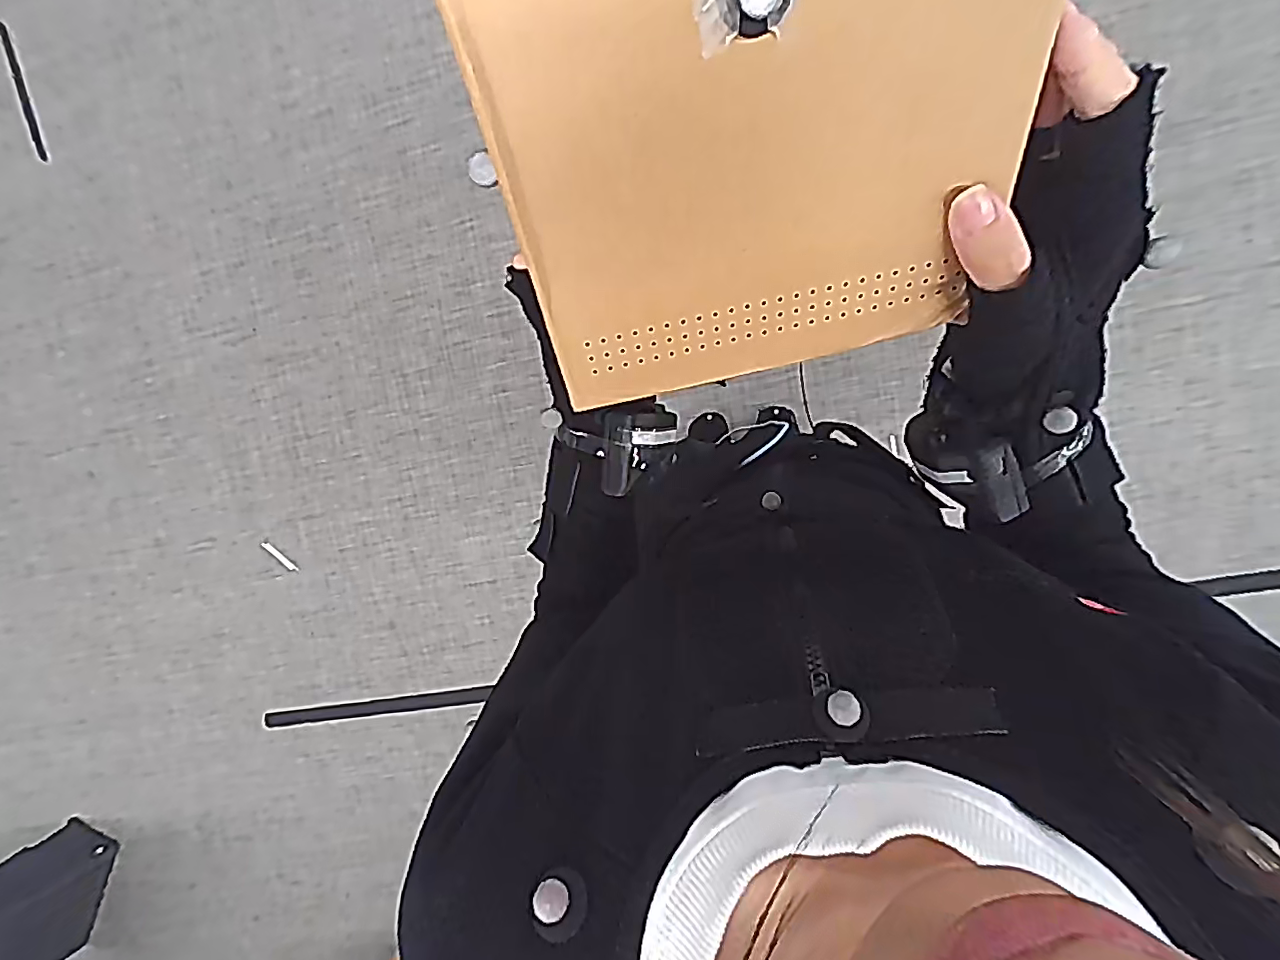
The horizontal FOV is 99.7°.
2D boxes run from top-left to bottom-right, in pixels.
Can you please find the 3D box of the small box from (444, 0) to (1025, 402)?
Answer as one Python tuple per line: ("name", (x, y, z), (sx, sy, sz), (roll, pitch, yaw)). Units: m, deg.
("small box", (0.034, -0.154, 0.237), (0.179, 0.168, 0.176), (-12, 135, 2))
